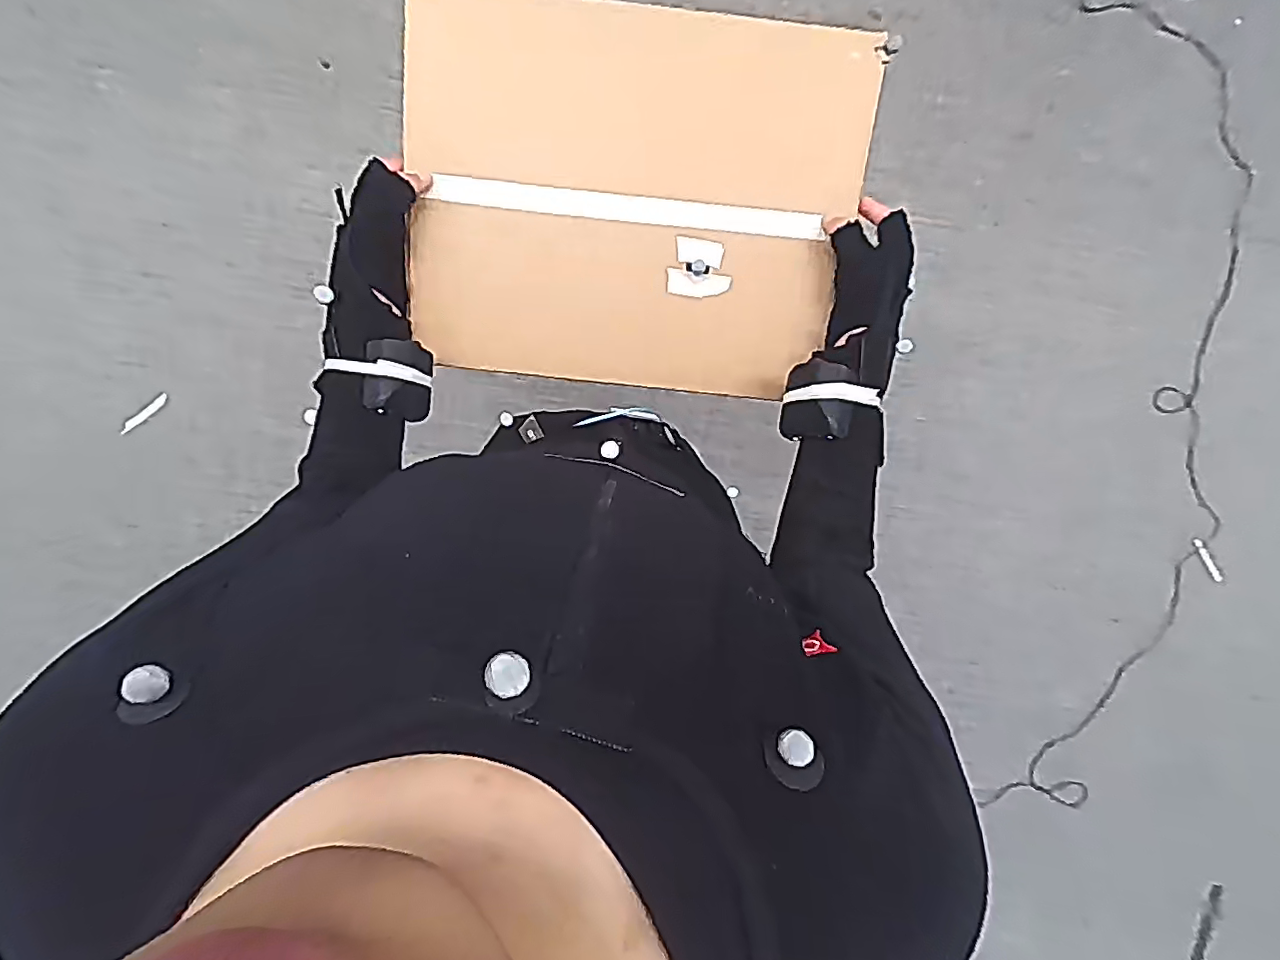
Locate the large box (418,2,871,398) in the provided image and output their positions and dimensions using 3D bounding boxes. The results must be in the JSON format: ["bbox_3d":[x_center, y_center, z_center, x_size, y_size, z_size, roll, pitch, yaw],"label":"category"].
[{"bbox_3d":[-0.009,-0.281,0.647,0.408,0.320,0.320,5,105,-2],"label":"large box"}]
